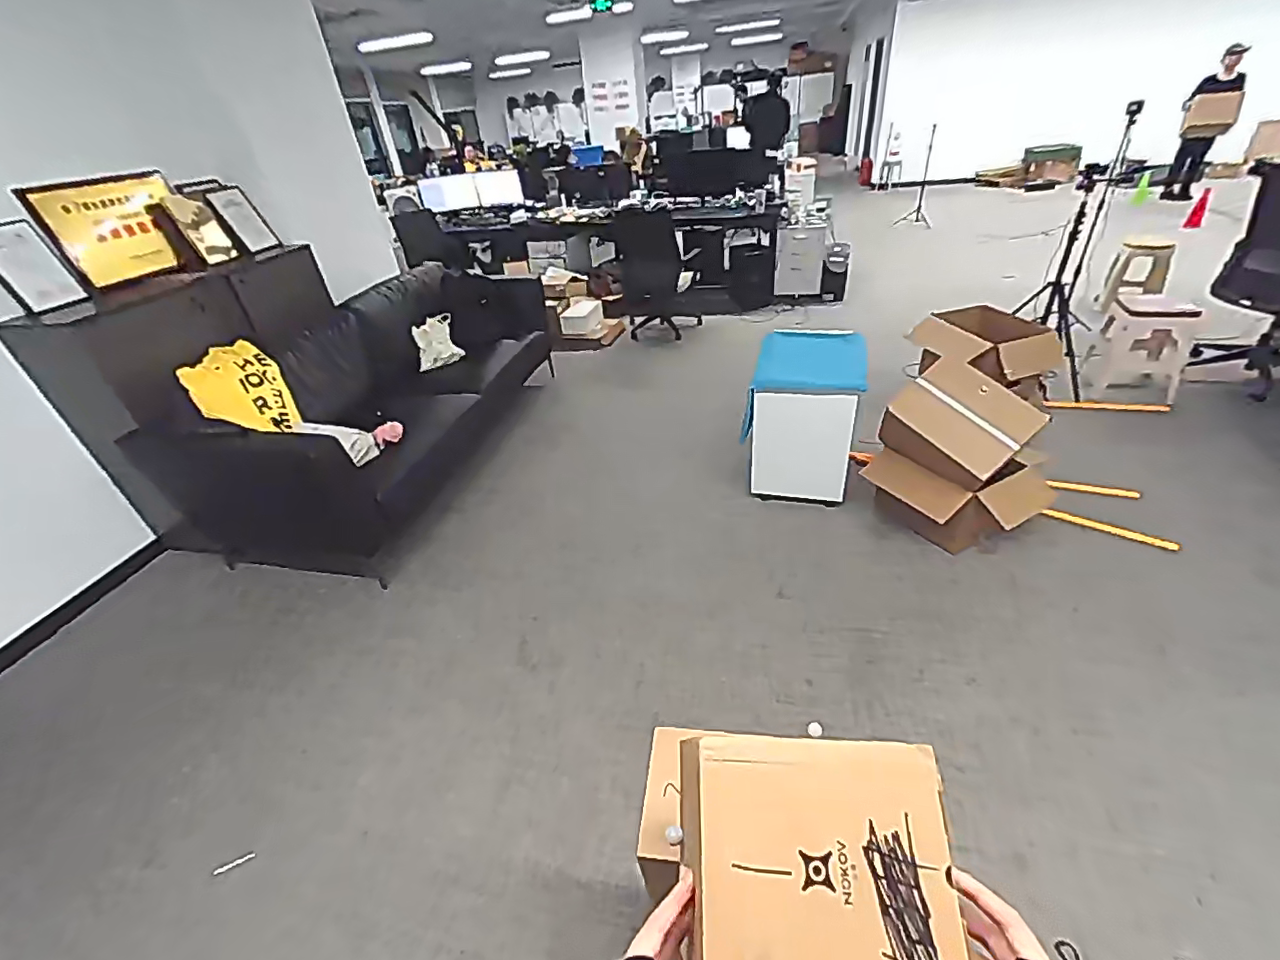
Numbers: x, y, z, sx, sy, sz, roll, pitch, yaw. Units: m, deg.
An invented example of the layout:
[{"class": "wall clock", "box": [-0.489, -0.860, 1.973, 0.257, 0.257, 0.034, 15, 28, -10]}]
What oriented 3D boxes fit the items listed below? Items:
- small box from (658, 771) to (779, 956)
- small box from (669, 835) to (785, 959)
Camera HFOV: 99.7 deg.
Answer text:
[{"class": "small box", "box": [0.128, 0.588, 0.837, 0.168, 0.176, 0.179, 0, 36, 13]}, {"class": "small box", "box": [0.152, 0.720, 0.929, 0.179, 0.176, 0.168, 1, 35, 12]}]
